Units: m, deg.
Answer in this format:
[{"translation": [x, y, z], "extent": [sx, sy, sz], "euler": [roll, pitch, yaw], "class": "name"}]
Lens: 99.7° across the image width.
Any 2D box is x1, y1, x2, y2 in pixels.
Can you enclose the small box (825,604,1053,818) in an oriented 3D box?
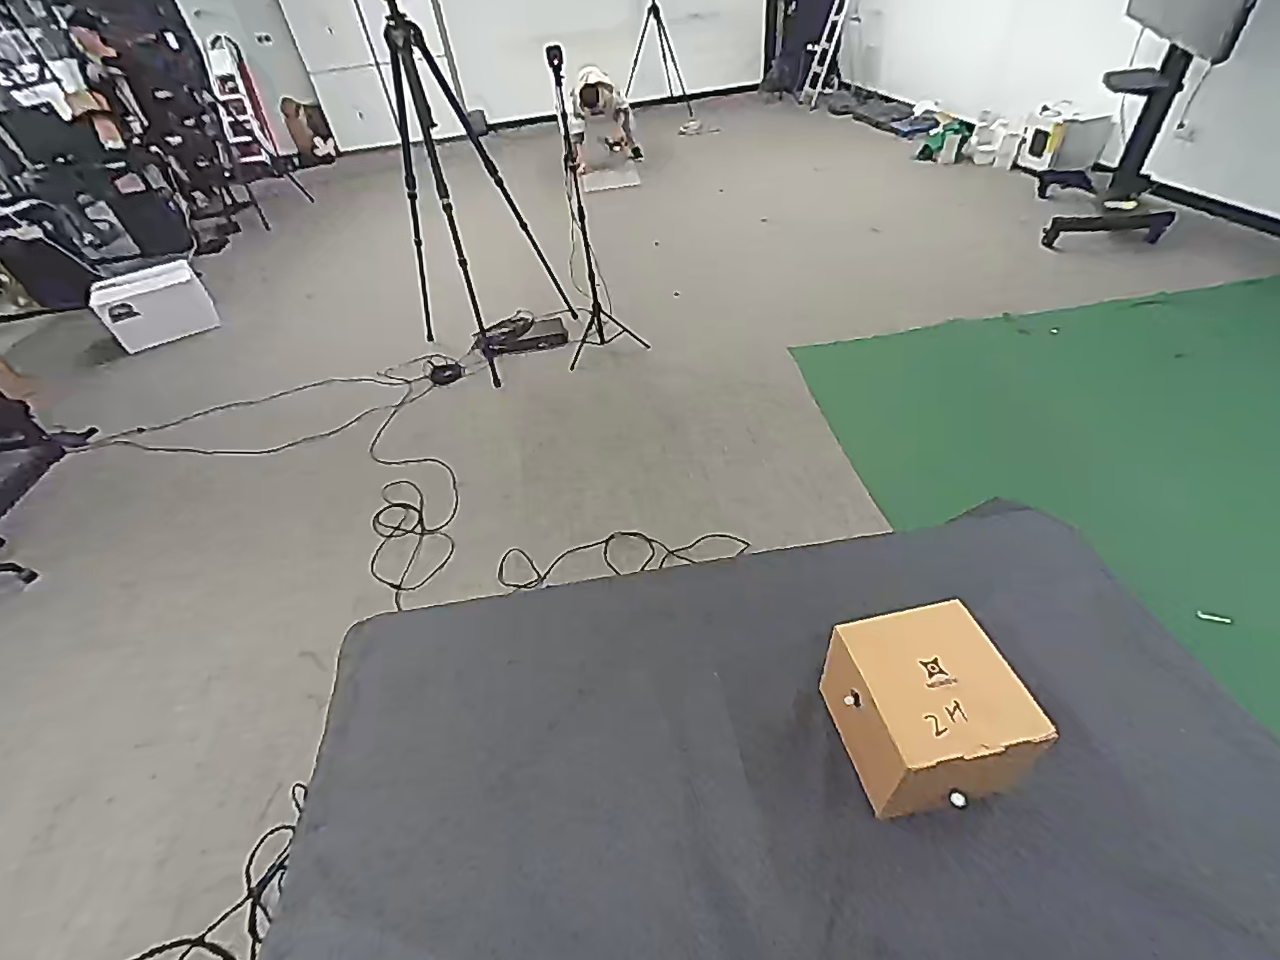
[{"translation": [0.347, 0.287, 0.675], "extent": [0.168, 0.176, 0.179], "euler": [-12, 43, -2], "class": "small box"}]
